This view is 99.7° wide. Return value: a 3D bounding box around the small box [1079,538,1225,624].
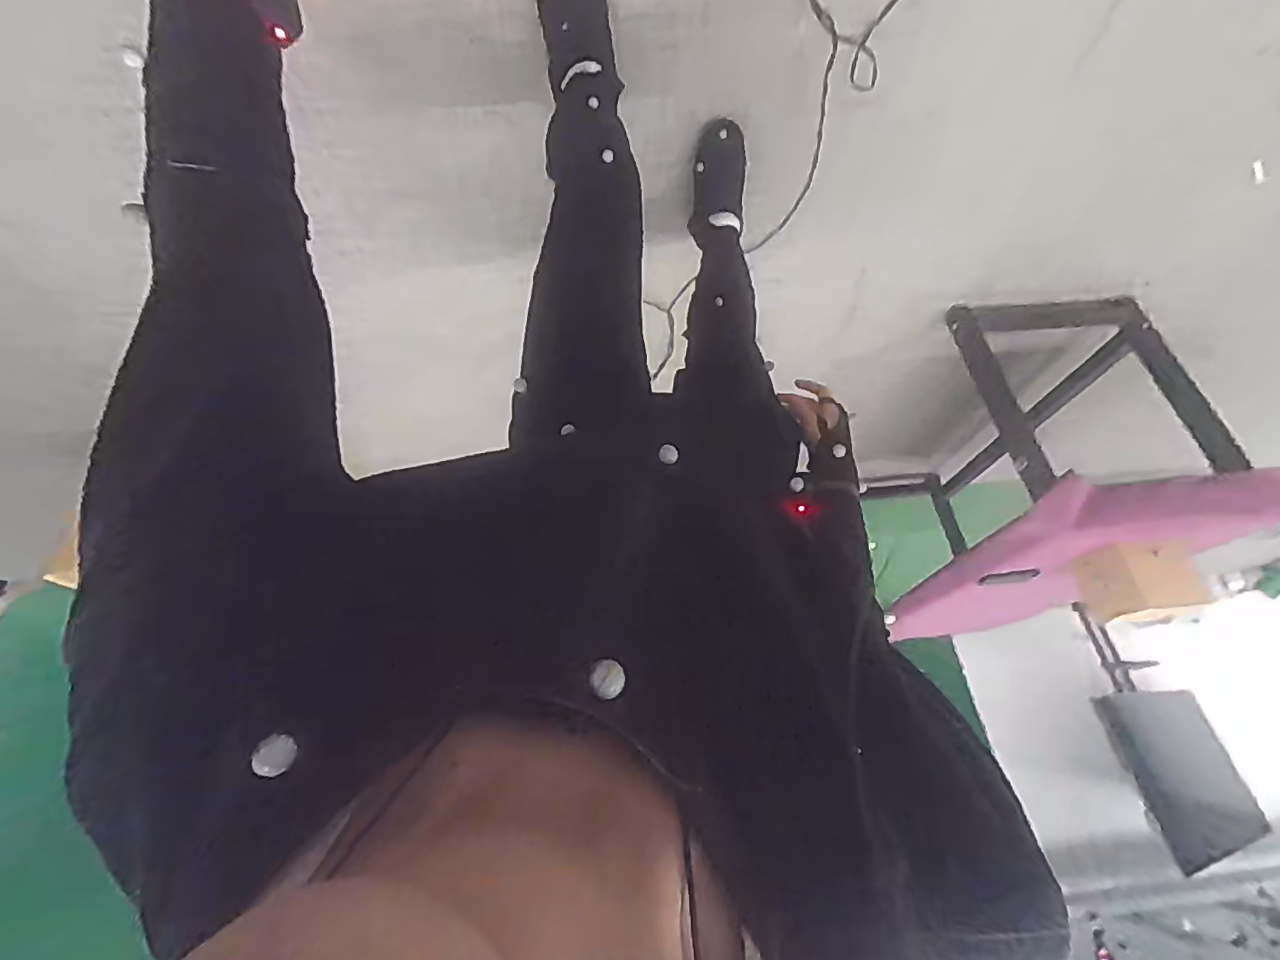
[{"bbox_3d":[1.267,0.253,1.356,0.179,0.176,0.168,-3,152,-4],"label":"small box"}]
